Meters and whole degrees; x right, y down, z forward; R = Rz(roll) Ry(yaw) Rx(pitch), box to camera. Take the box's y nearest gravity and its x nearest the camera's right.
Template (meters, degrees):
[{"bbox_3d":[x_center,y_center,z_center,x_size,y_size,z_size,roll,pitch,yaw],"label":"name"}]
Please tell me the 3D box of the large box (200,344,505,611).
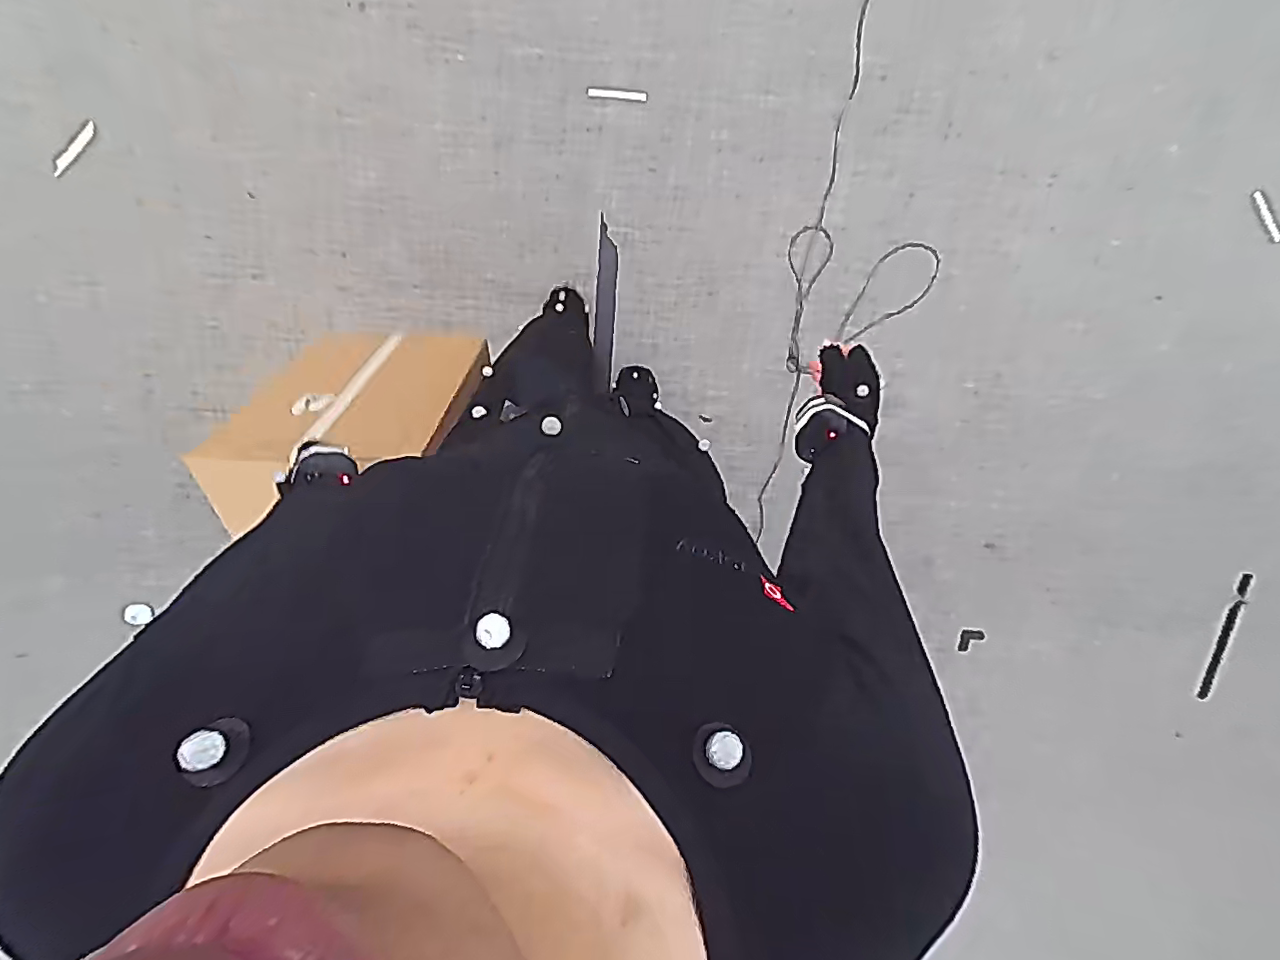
[{"bbox_3d":[-0.451,-0.019,0.980,0.320,0.408,0.320,0,128,1],"label":"large box"}]
